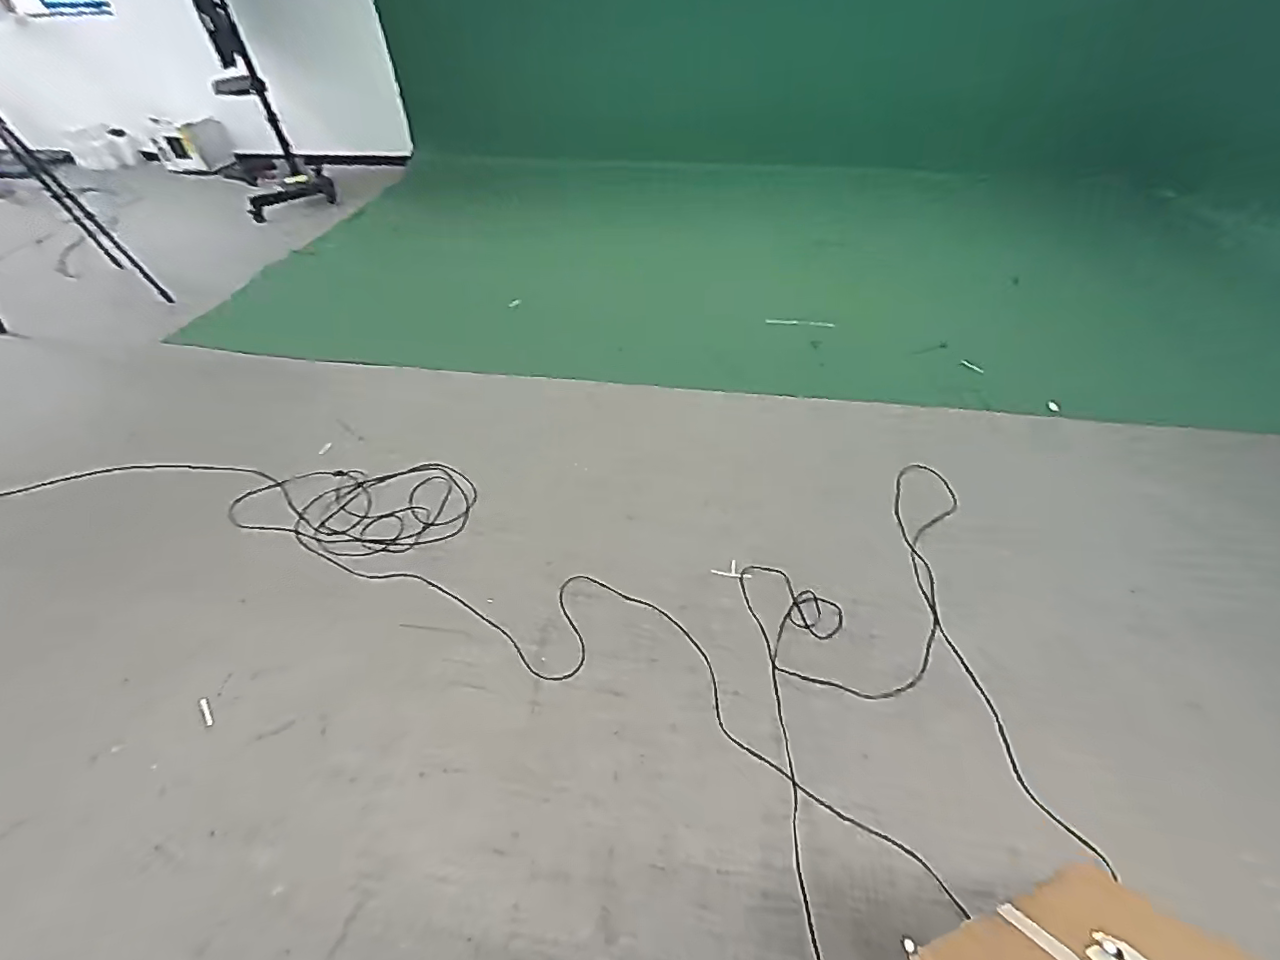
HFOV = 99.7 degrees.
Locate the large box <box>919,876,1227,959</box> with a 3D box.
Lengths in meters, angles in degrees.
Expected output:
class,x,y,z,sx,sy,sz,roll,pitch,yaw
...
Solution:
class,x,y,z,sx,sy,sz,roll,pitch,yaw
large box,0.592,0.742,0.570,0.320,0.408,0.320,-16,83,-9
